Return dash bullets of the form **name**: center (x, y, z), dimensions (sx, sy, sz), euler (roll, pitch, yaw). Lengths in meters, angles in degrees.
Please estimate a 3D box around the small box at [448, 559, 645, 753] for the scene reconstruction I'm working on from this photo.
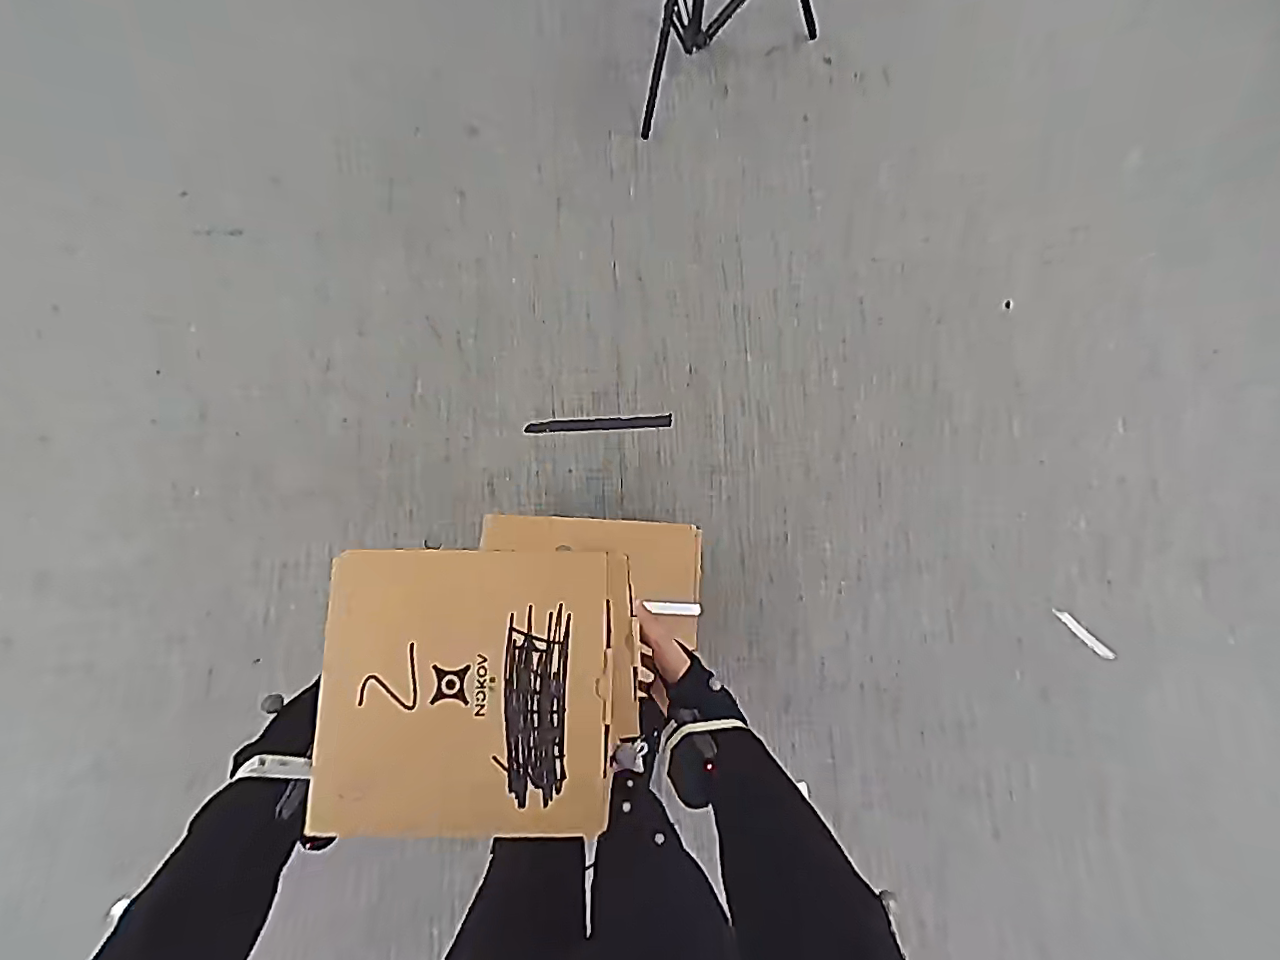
- **small box**: center (-0.089, 0.170, 0.570), dimensions (0.179, 0.176, 0.168), euler (-3, 80, -1)
